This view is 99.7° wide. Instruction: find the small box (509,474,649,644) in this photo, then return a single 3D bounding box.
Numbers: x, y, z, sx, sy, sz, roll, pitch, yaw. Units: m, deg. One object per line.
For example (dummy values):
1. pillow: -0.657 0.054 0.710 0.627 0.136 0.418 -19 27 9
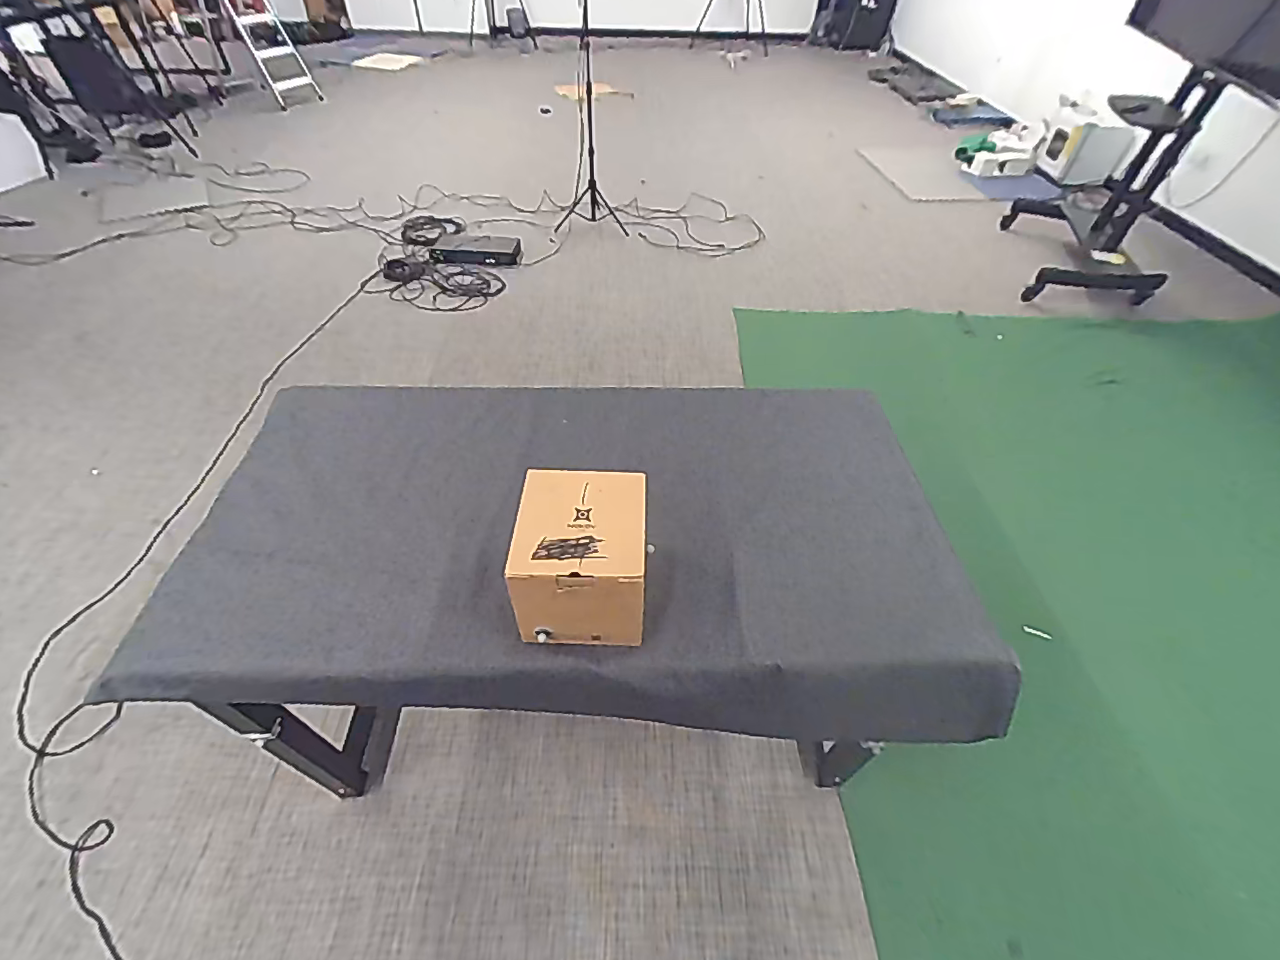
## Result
1. small box: -0.074 0.113 0.757 0.168 0.176 0.179 3 46 0
